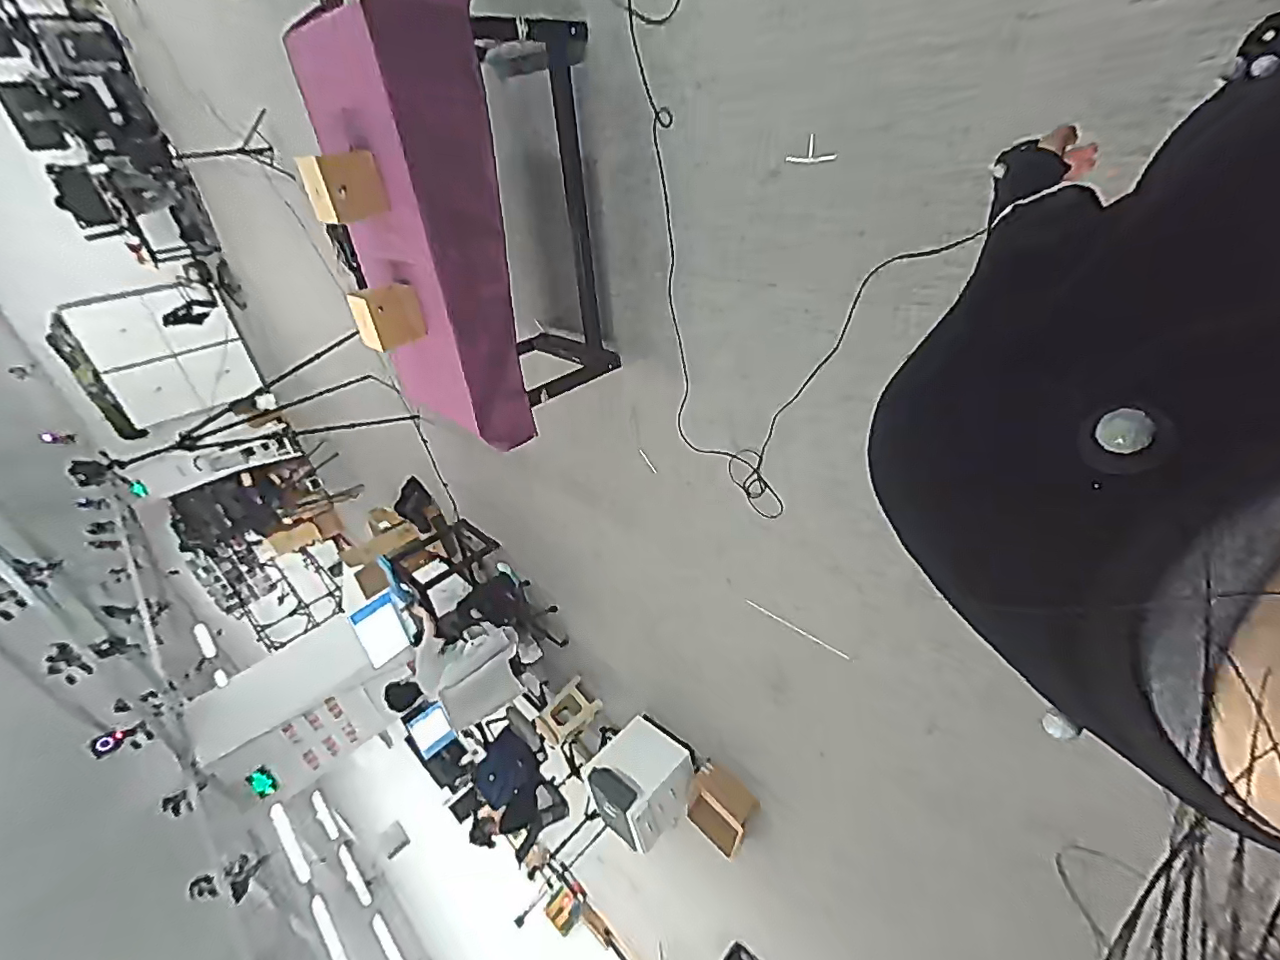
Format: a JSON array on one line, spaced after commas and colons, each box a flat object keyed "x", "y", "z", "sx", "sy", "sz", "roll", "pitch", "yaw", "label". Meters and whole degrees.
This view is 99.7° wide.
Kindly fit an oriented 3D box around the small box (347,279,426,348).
[{"x": -0.858, "y": -0.572, "z": 1.845, "sx": 0.168, "sy": 0.176, "sz": 0.179, "roll": 25, "pitch": 133, "yaw": 39, "label": "small box"}]

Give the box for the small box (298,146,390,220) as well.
[{"x": -0.882, "y": -0.894, "z": 1.624, "sx": 0.168, "sy": 0.176, "sz": 0.179, "roll": 26, "pitch": 134, "yaw": 37, "label": "small box"}]
